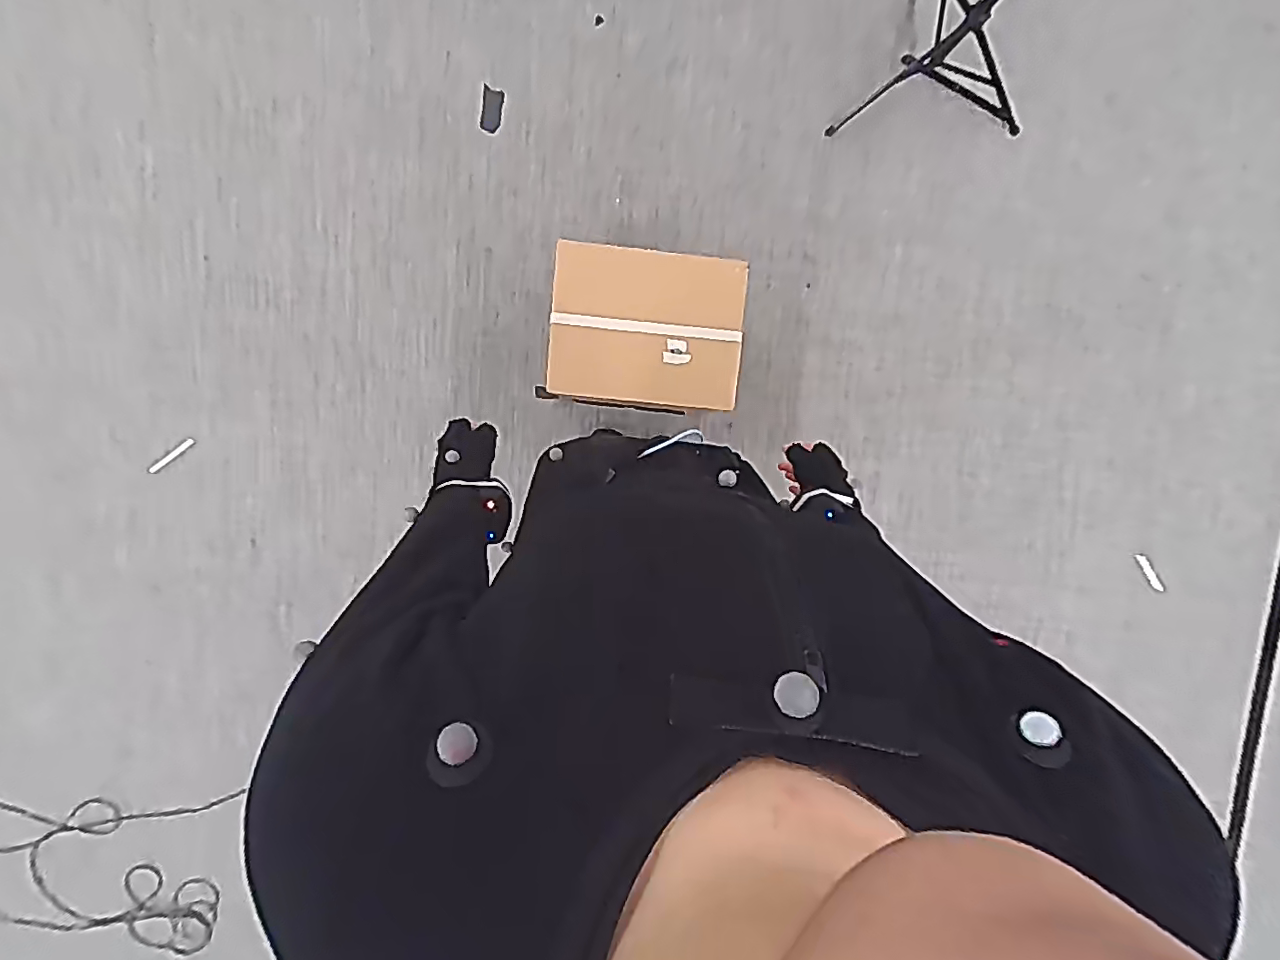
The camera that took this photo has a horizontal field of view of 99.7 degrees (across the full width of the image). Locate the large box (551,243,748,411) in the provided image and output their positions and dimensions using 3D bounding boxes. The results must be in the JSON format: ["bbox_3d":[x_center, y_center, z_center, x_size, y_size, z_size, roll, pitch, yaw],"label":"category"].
[{"bbox_3d":[0.008,-0.338,1.292,0.408,0.320,0.320,5,97,-4],"label":"large box"}]
